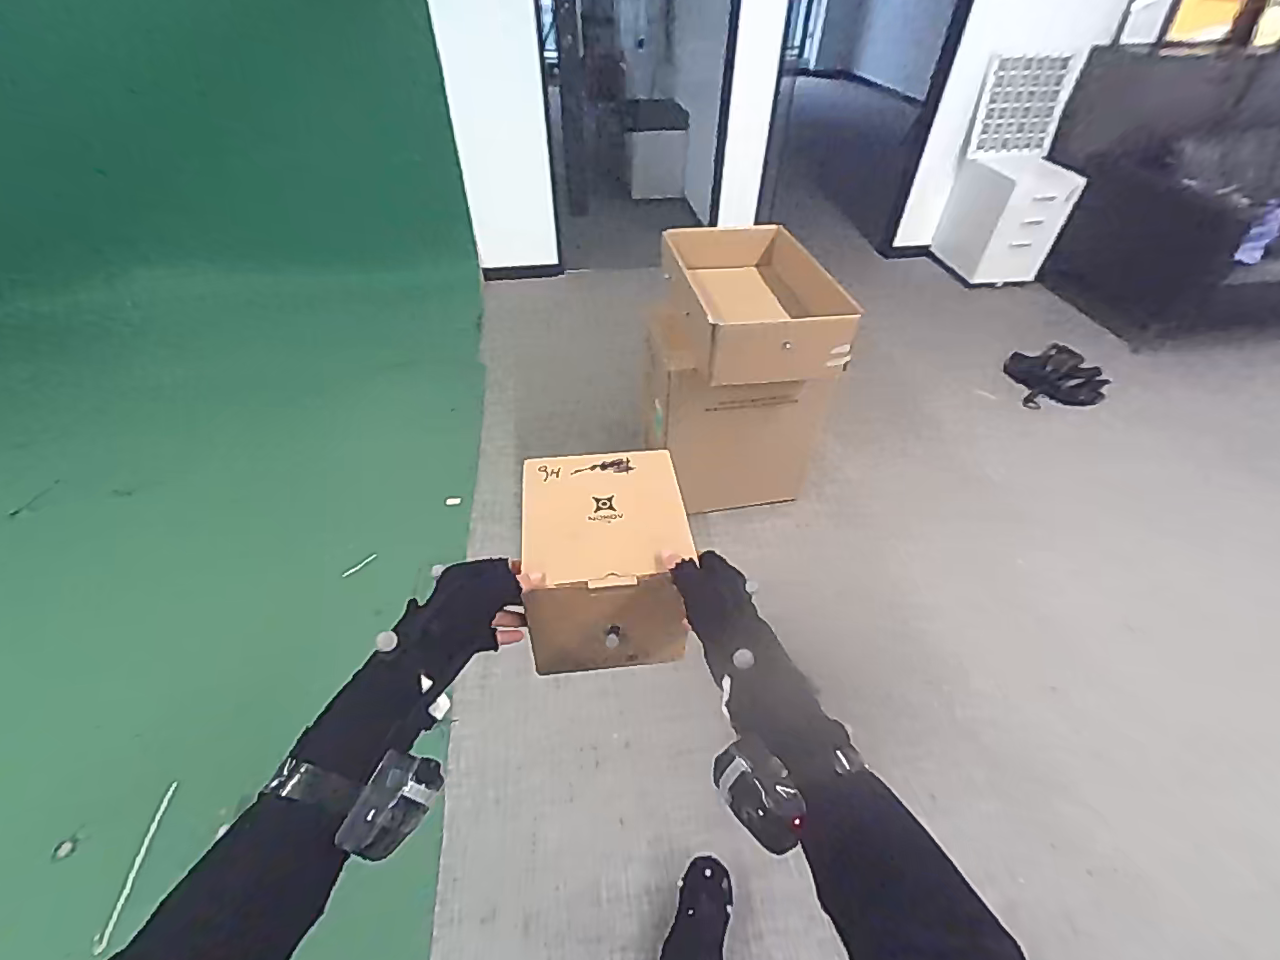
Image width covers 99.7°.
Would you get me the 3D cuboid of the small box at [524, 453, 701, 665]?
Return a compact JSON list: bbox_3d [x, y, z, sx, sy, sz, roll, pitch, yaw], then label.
[{"bbox_3d":[-0.035,0.091,0.604,0.168,0.176,0.179,-3,43,-7],"label":"small box"}]
